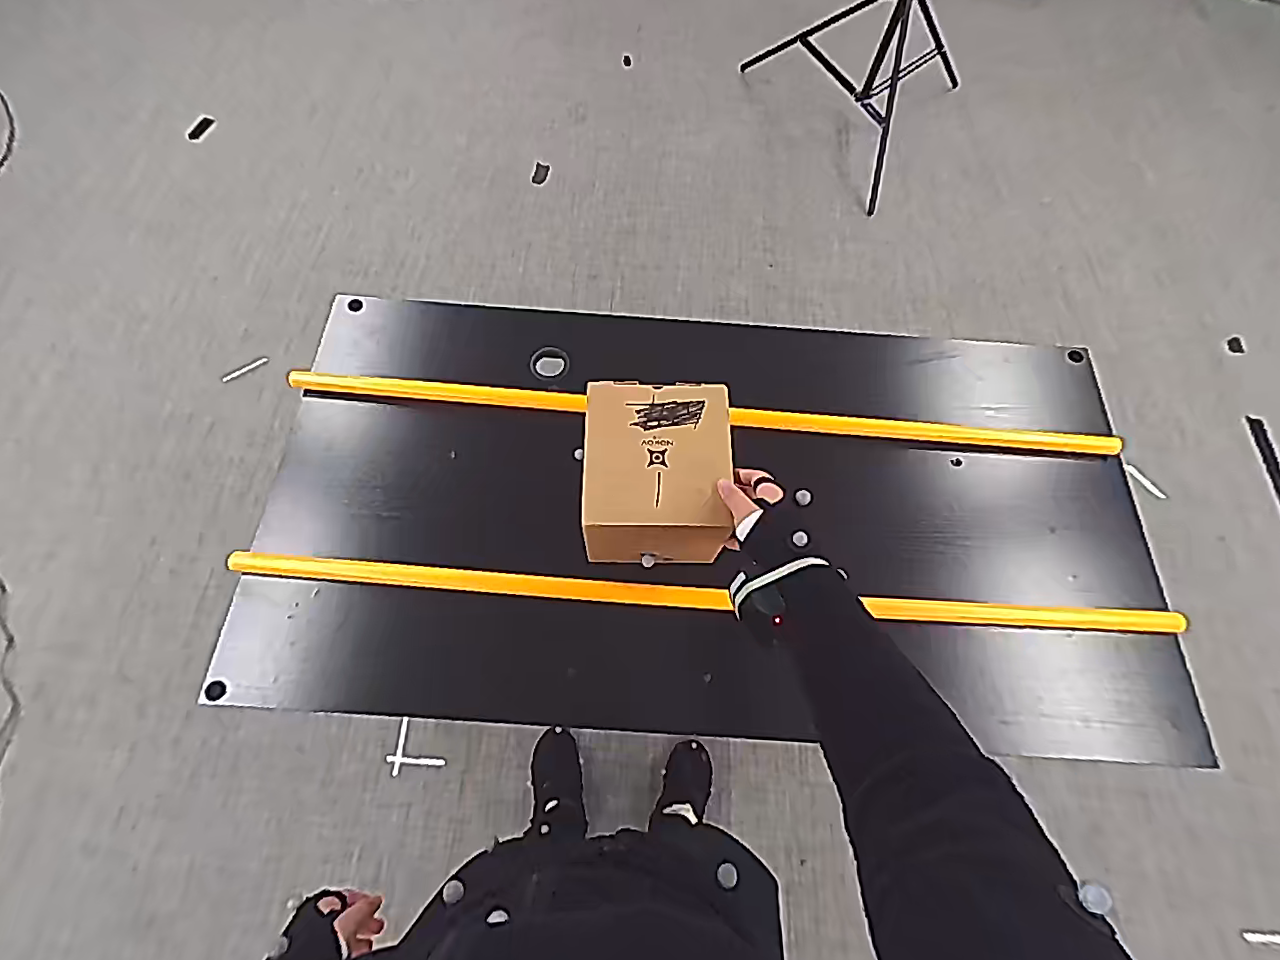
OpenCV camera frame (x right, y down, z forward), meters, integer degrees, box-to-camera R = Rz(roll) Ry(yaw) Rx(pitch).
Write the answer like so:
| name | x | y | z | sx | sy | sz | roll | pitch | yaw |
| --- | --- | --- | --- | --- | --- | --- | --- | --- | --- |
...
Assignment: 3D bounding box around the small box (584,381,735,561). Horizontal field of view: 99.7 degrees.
| name | x | y | z | sx | sy | sz | roll | pitch | yaw |
| --- | --- | --- | --- | --- | --- | --- | --- | --- | --- |
| small box | 0.019 | -0.005 | 0.681 | 0.168 | 0.176 | 0.179 | 1 | 68 | -2 |
